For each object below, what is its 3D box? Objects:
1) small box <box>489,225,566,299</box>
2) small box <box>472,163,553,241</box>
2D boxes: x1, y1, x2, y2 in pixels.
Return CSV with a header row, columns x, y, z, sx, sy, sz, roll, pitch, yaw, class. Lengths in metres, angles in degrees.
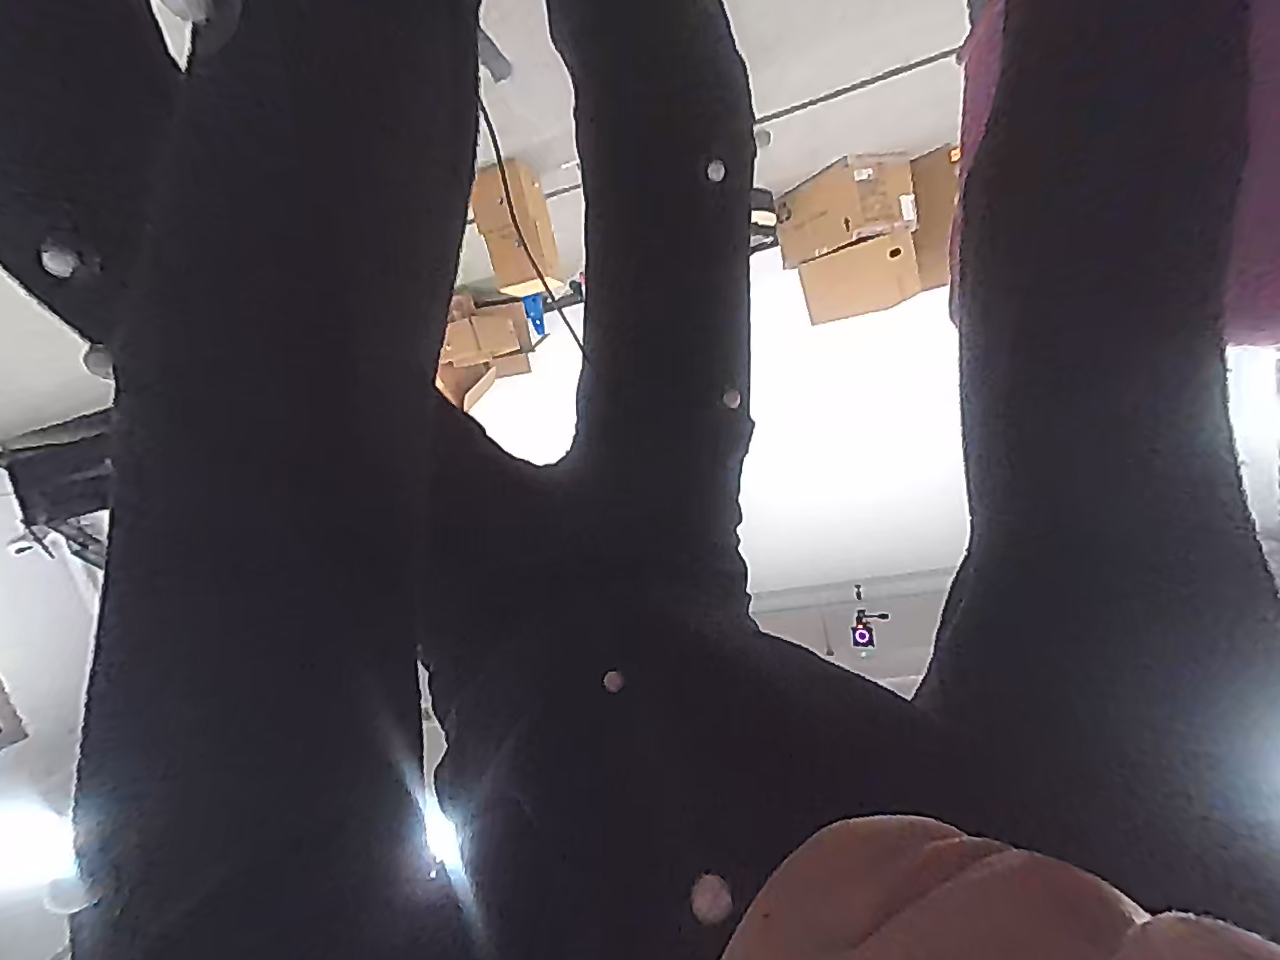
x,y,z,sx,sy,sz,roll,pitch,yaw,class
-0.349,-0.679,1.691,0.168,0.176,0.179,-11,-170,12,small box
-0.391,-0.831,1.651,0.179,0.176,0.168,-11,-169,16,small box
